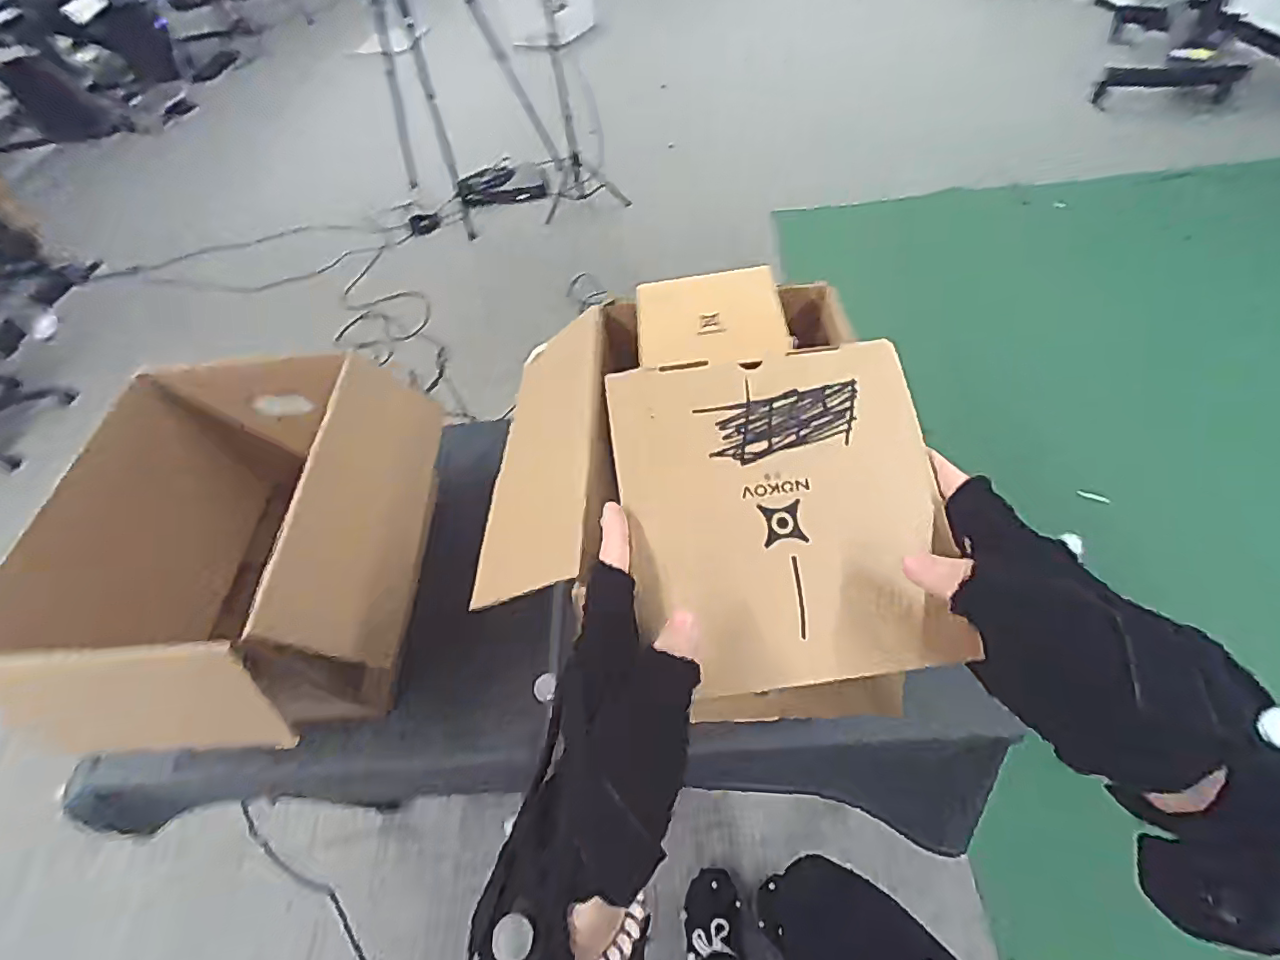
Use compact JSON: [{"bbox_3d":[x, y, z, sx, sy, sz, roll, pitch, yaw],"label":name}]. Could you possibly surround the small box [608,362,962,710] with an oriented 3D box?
[{"bbox_3d":[0.068,0.044,0.364,0.168,0.176,0.179,-7,74,-3],"label":"small box"}]
